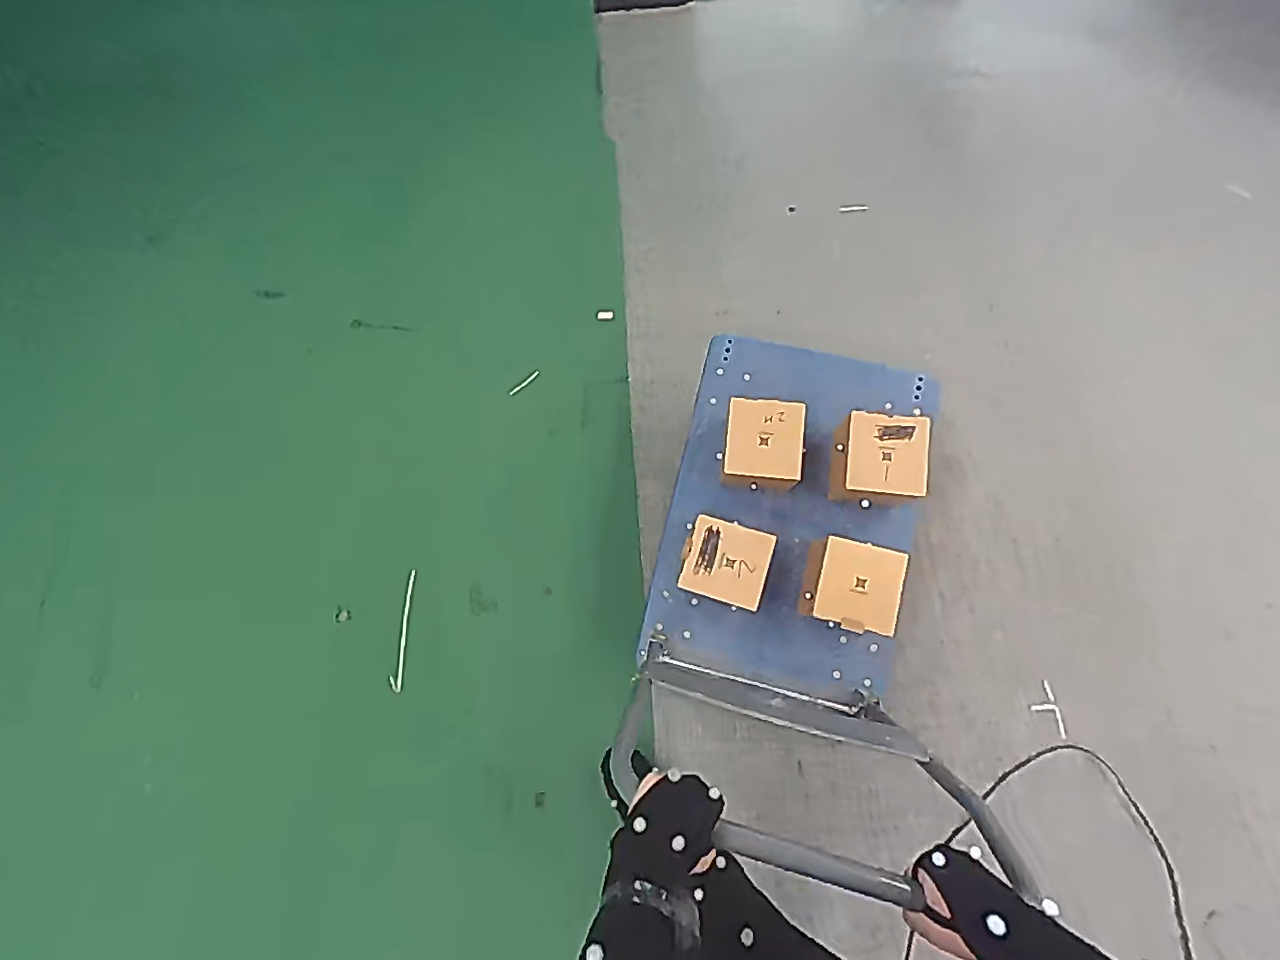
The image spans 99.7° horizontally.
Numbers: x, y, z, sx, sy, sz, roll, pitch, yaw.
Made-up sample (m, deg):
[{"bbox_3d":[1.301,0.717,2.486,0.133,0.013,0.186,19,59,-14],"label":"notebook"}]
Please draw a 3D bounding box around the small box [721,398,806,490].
[{"bbox_3d":[0.283,-0.077,1.263,0.168,0.176,0.179,6,81,6],"label":"small box"}]

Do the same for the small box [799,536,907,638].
[{"bbox_3d":[0.461,0.232,1.196,0.168,0.176,0.179,14,82,8],"label":"small box"}]

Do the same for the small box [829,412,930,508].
[{"bbox_3d":[0.538,-0.041,1.234,0.168,0.176,0.179,7,82,7],"label":"small box"}]
